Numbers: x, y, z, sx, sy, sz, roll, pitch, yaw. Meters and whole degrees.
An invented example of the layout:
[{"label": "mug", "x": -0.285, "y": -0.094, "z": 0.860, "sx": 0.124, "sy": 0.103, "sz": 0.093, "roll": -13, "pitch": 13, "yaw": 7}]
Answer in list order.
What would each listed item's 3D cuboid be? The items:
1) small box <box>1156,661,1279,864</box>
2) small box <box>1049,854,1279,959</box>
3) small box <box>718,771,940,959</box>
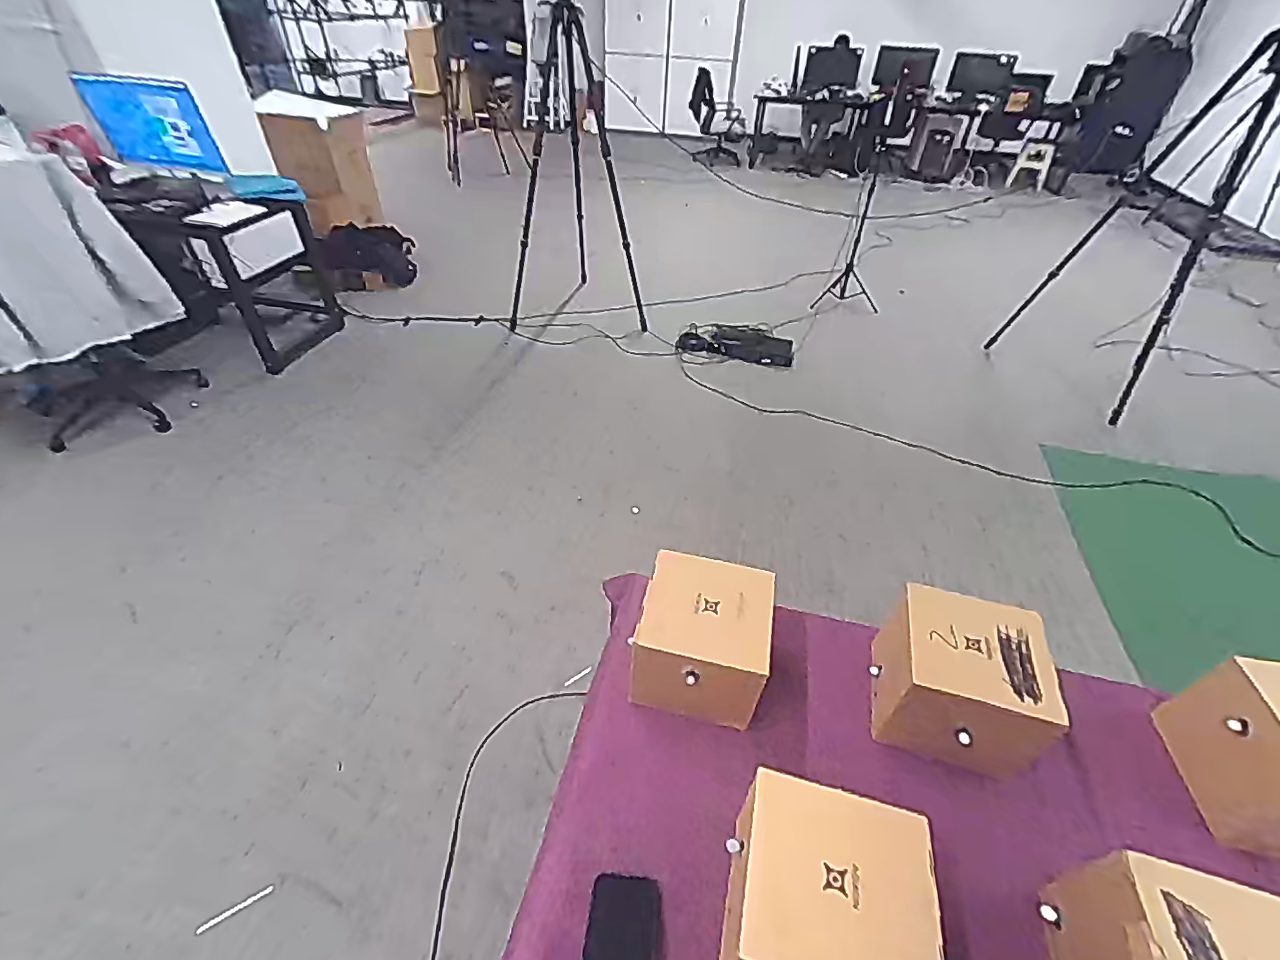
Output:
[{"label": "small box", "x": 0.824, "y": 0.363, "z": 0.682, "sx": 0.168, "sy": 0.176, "sz": 0.179, "roll": 9, "pitch": 42, "yaw": 8}, {"label": "small box", "x": 0.530, "y": 0.500, "z": 0.513, "sx": 0.179, "sy": 0.176, "sz": 0.168, "roll": 14, "pitch": 42, "yaw": 12}, {"label": "small box", "x": 0.185, "y": 0.443, "z": 0.563, "sx": 0.179, "sy": 0.176, "sz": 0.168, "roll": 13, "pitch": 42, "yaw": 10}]
